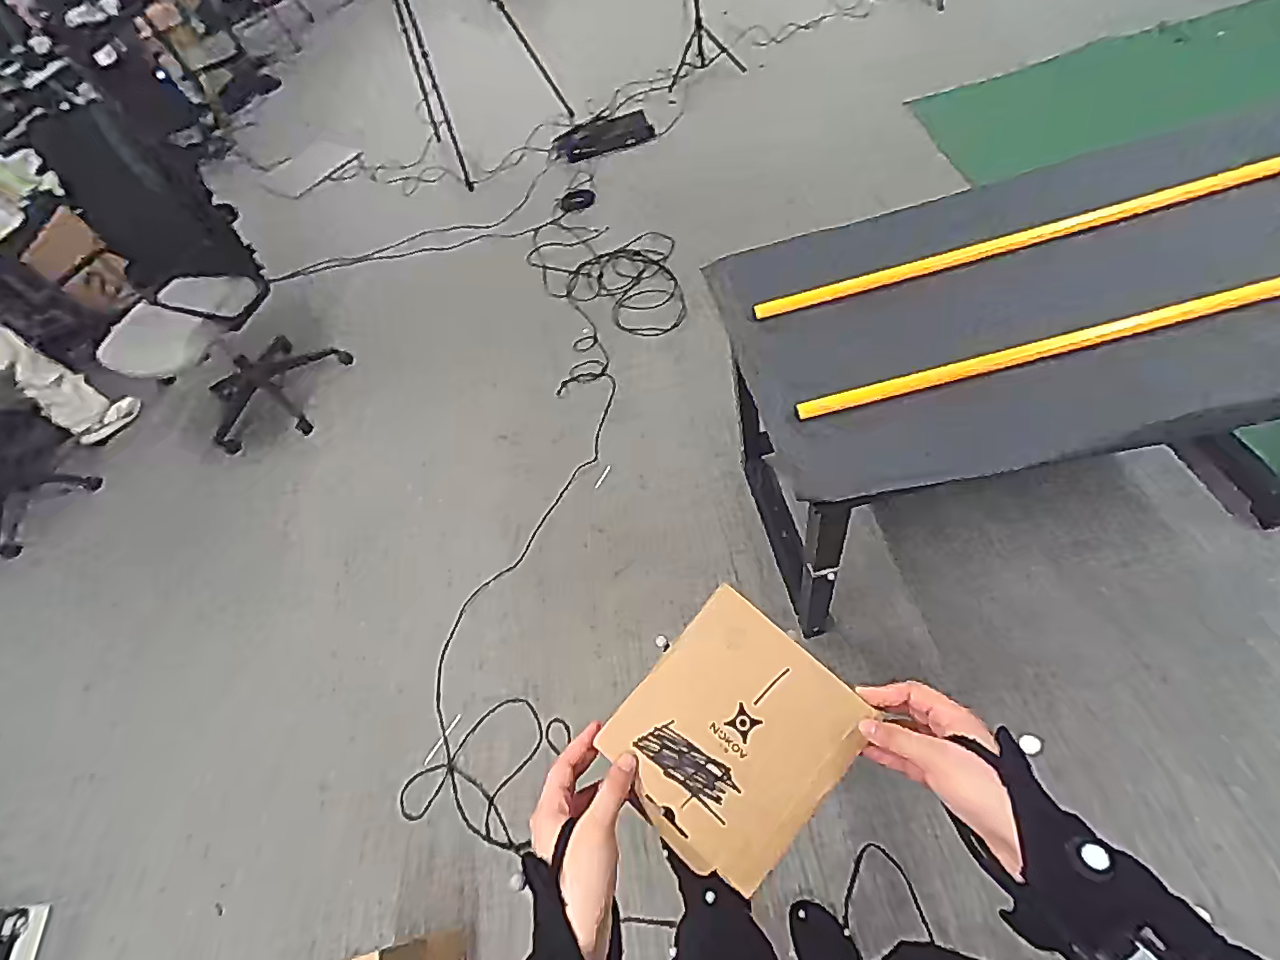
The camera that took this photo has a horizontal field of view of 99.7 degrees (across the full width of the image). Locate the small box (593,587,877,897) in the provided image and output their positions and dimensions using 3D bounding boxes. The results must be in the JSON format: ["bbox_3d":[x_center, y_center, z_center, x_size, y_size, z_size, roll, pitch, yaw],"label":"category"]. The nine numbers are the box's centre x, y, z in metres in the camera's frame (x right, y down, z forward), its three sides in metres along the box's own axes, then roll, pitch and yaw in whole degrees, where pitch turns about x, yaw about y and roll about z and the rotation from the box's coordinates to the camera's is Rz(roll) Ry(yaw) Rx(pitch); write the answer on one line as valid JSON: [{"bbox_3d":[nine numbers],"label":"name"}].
[{"bbox_3d":[0.083,0.226,0.516,0.168,0.176,0.179,40,82,13],"label":"small box"}]

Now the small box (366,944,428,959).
[{"bbox_3d":[-0.500,0.973,0.972,0.179,0.176,0.168,-19,56,2],"label":"small box"}]

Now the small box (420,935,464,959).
[{"bbox_3d":[-0.472,1.065,1.106,0.179,0.176,0.168,-18,56,3],"label":"small box"}]
